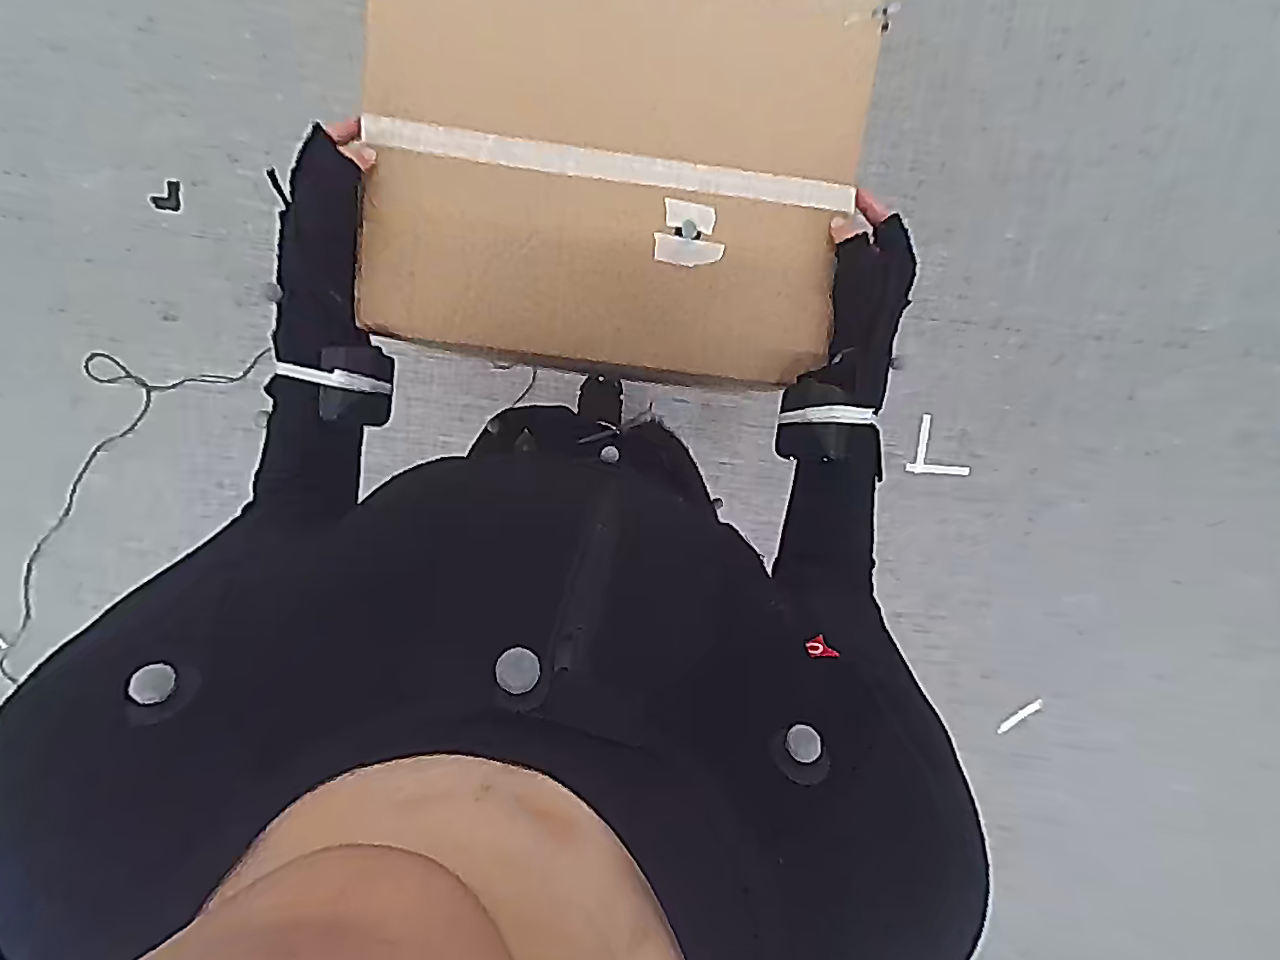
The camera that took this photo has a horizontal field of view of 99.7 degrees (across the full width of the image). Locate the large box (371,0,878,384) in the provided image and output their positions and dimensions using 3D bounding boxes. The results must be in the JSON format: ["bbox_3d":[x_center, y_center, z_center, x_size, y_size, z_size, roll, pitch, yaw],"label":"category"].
[{"bbox_3d":[-0.027,-0.285,0.597,0.408,0.320,0.320,7,100,-5],"label":"large box"}]
